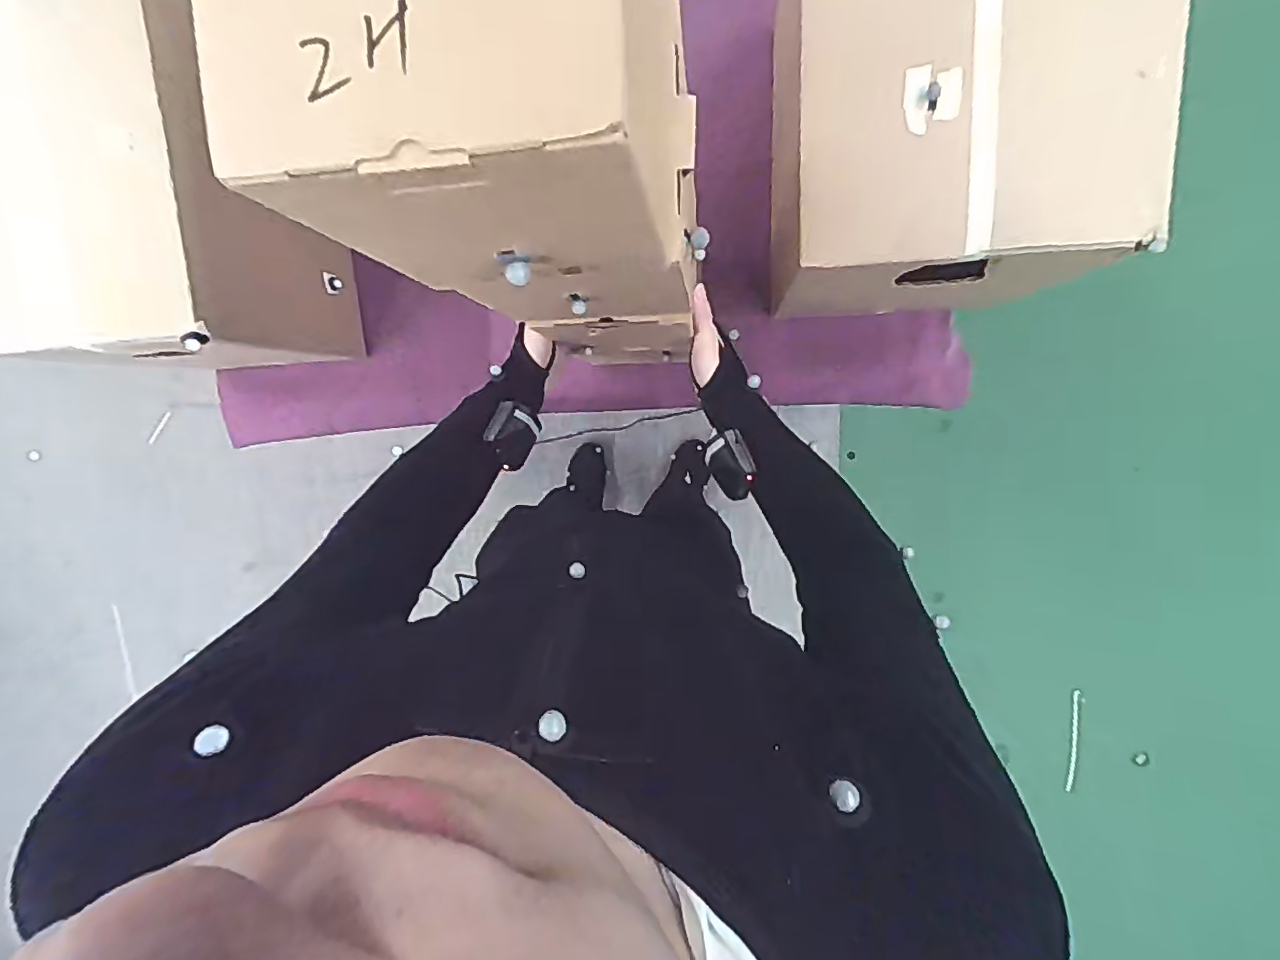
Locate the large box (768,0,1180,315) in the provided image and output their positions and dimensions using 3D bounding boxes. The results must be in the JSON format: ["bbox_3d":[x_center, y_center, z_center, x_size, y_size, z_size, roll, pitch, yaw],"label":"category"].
[{"bbox_3d":[0.320,-0.423,0.616,0.320,0.320,0.408,-1,99,9],"label":"large box"}]

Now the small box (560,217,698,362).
[{"bbox_3d":[-0.008,-0.258,0.757,0.179,0.176,0.168,-1,97,7],"label":"small box"}]

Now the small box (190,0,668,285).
[{"bbox_3d":[-0.076,-0.211,0.269,0.168,0.176,0.179,-1,96,8],"label":"small box"}]

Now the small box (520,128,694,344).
[{"bbox_3d":[-0.026,-0.246,0.592,0.168,0.176,0.179,0,96,7],"label":"small box"}]
